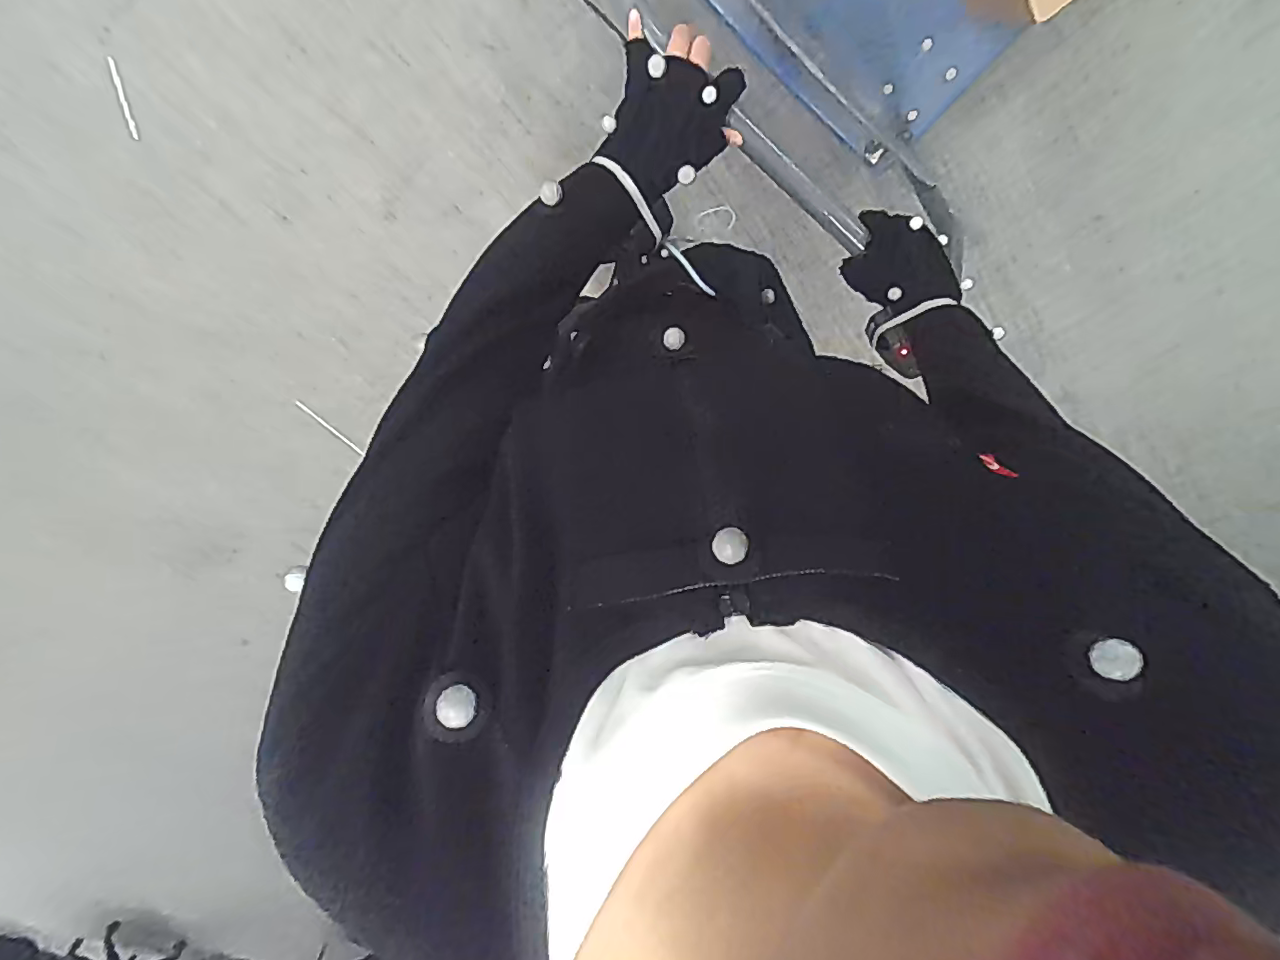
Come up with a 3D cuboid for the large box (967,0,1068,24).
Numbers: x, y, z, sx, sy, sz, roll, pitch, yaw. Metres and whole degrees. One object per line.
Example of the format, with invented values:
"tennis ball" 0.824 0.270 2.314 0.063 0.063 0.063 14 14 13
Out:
"large box" 0.523 -0.882 0.659 0.320 0.320 0.408 -30 119 33
